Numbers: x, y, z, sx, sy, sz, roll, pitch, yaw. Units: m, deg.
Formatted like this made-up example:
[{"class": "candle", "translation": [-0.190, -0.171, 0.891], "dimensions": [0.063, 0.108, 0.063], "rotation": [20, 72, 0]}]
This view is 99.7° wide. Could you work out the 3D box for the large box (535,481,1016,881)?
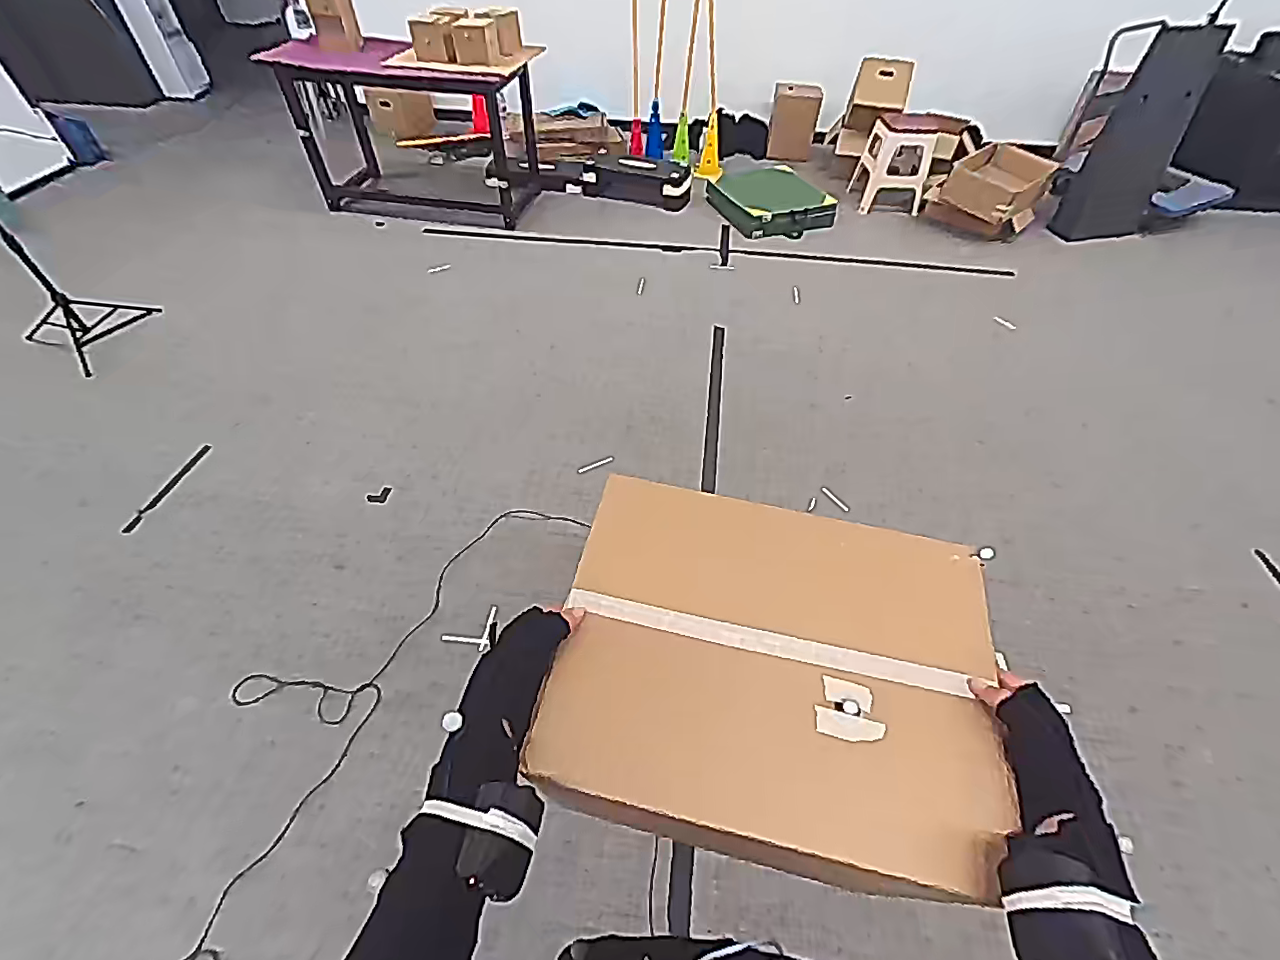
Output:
[{"class": "large box", "translation": [0.126, 0.241, 0.645], "dimensions": [0.408, 0.320, 0.320], "rotation": [12, 56, 6]}]
